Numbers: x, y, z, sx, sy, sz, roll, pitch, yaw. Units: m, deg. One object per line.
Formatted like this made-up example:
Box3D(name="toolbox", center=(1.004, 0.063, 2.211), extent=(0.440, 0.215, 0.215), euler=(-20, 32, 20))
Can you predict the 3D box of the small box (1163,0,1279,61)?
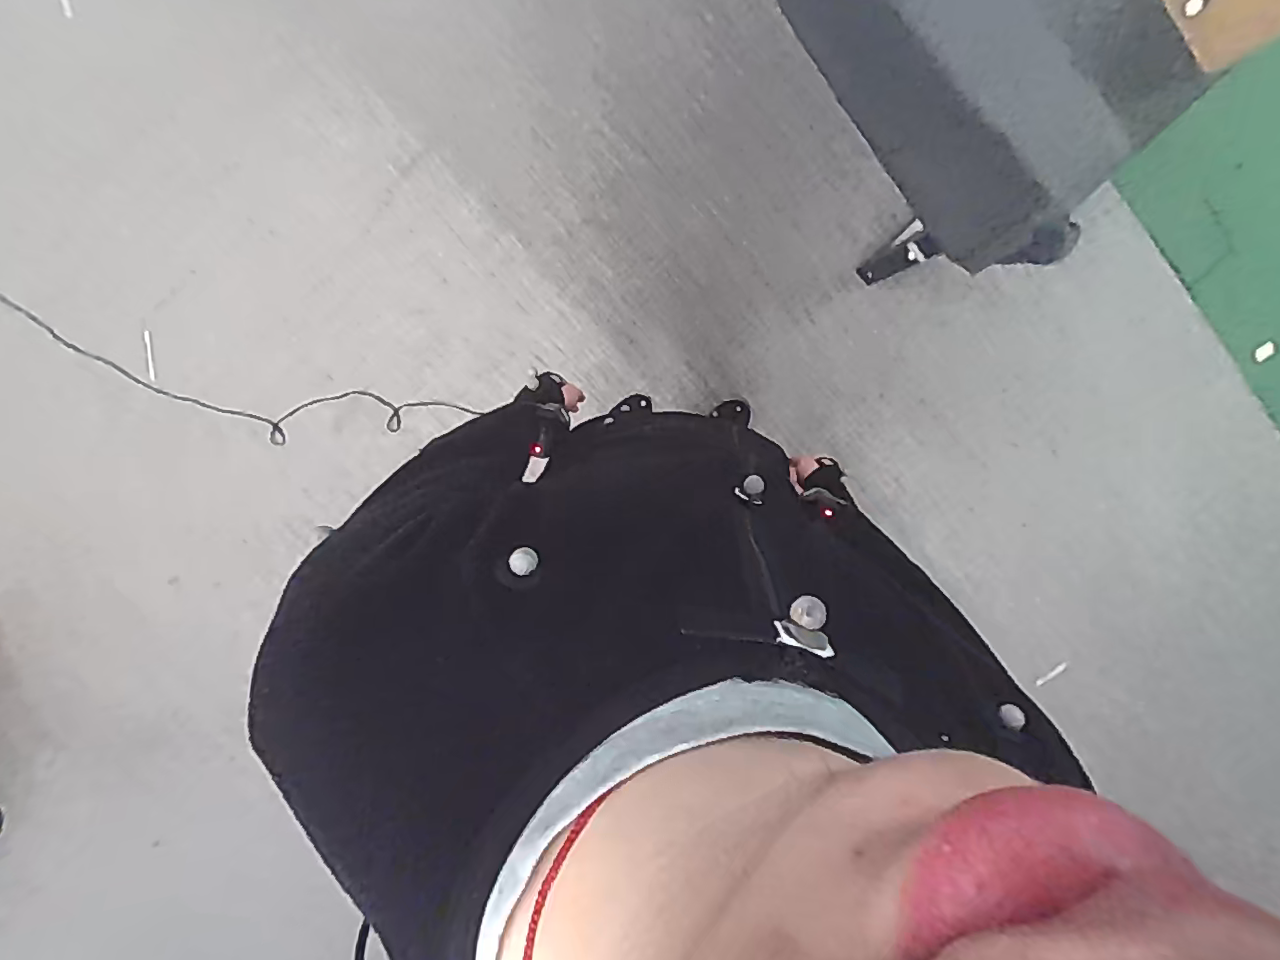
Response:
Box3D(name="small box", center=(0.741, -0.620, 0.602), extent=(0.168, 0.176, 0.179), euler=(-38, 99, 8))
